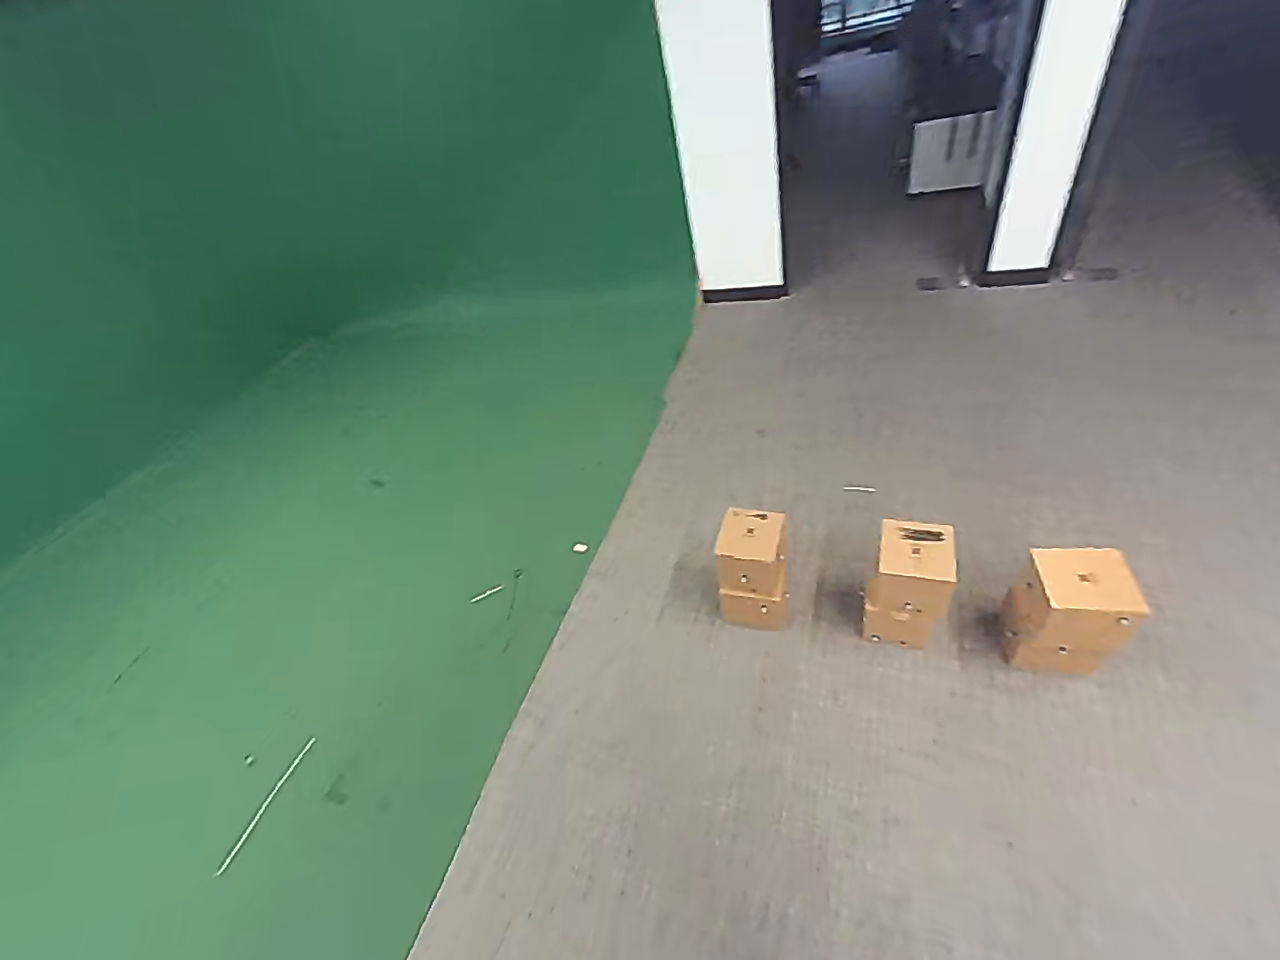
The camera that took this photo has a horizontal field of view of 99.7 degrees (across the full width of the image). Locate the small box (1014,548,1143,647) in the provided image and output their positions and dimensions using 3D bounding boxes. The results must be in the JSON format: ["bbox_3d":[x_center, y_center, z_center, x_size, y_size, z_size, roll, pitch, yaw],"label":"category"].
[{"bbox_3d":[1.001,0.274,1.258,0.179,0.176,0.168,-1,46,16],"label":"small box"}]

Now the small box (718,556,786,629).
[{"bbox_3d":[0.349,0.335,1.650,0.179,0.176,0.168,4,46,21],"label":"small box"}]

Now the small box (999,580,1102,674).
[{"bbox_3d":[1.039,0.376,1.379,0.179,0.176,0.168,2,48,20],"label":"small box"}]

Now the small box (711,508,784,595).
[{"bbox_3d":[0.316,0.207,1.550,0.168,0.176,0.179,7,49,24],"label":"small box"}]

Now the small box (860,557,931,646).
[{"bbox_3d":[0.715,0.343,1.519,0.168,0.176,0.179,4,46,22],"label":"small box"}]
